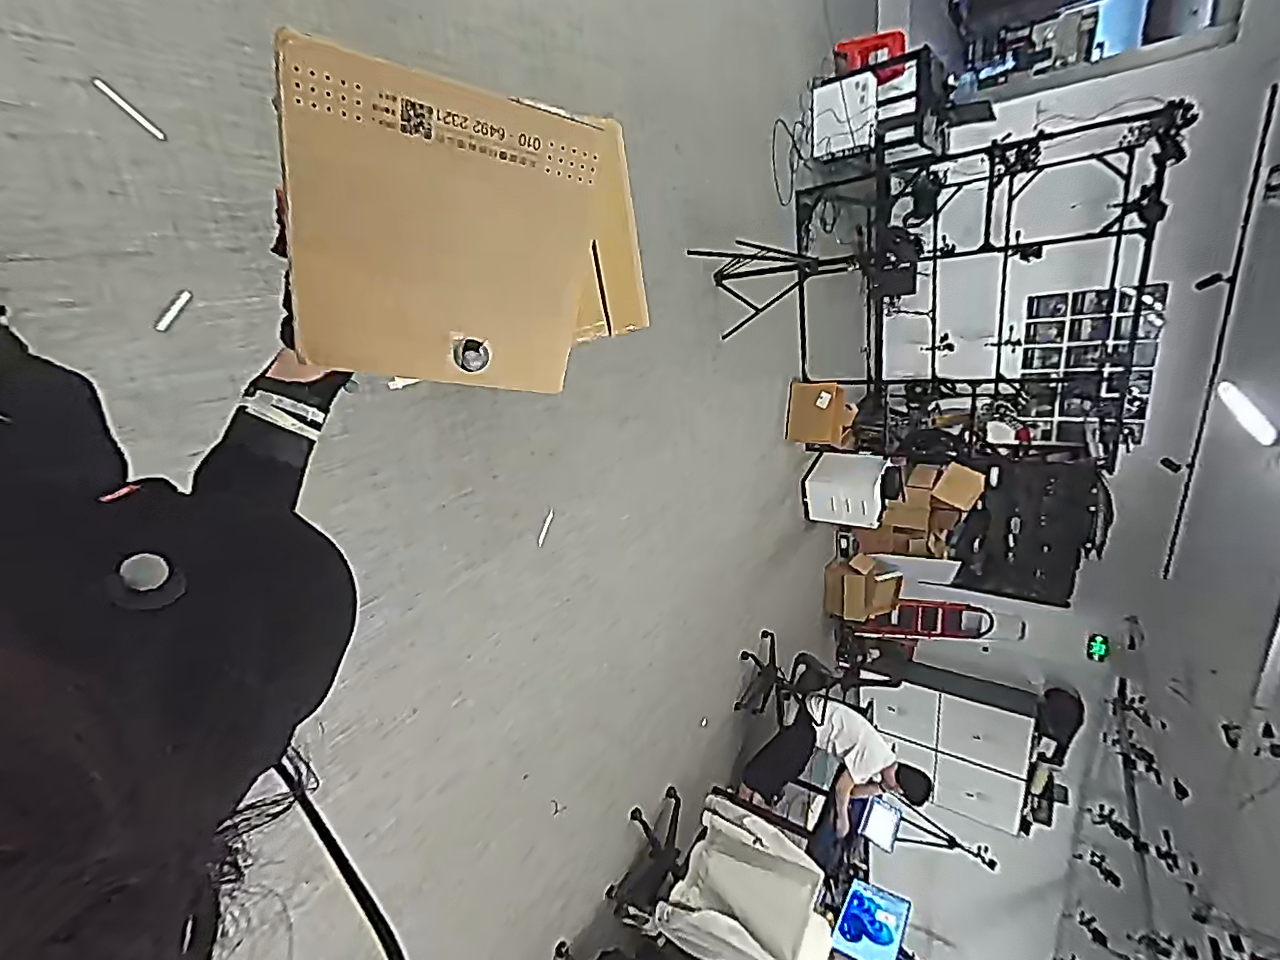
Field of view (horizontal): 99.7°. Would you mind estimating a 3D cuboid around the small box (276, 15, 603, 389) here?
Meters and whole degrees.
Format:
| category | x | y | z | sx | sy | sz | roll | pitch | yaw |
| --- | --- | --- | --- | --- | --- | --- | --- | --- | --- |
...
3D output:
| category | x | y | z | sx | sy | sz | roll | pitch | yaw |
| --- | --- | --- | --- | --- | --- | --- | --- | --- | --- |
| small box | -0.135 | -0.186 | 0.374 | 0.168 | 0.179 | 0.176 | 3 | 125 | -23 |
